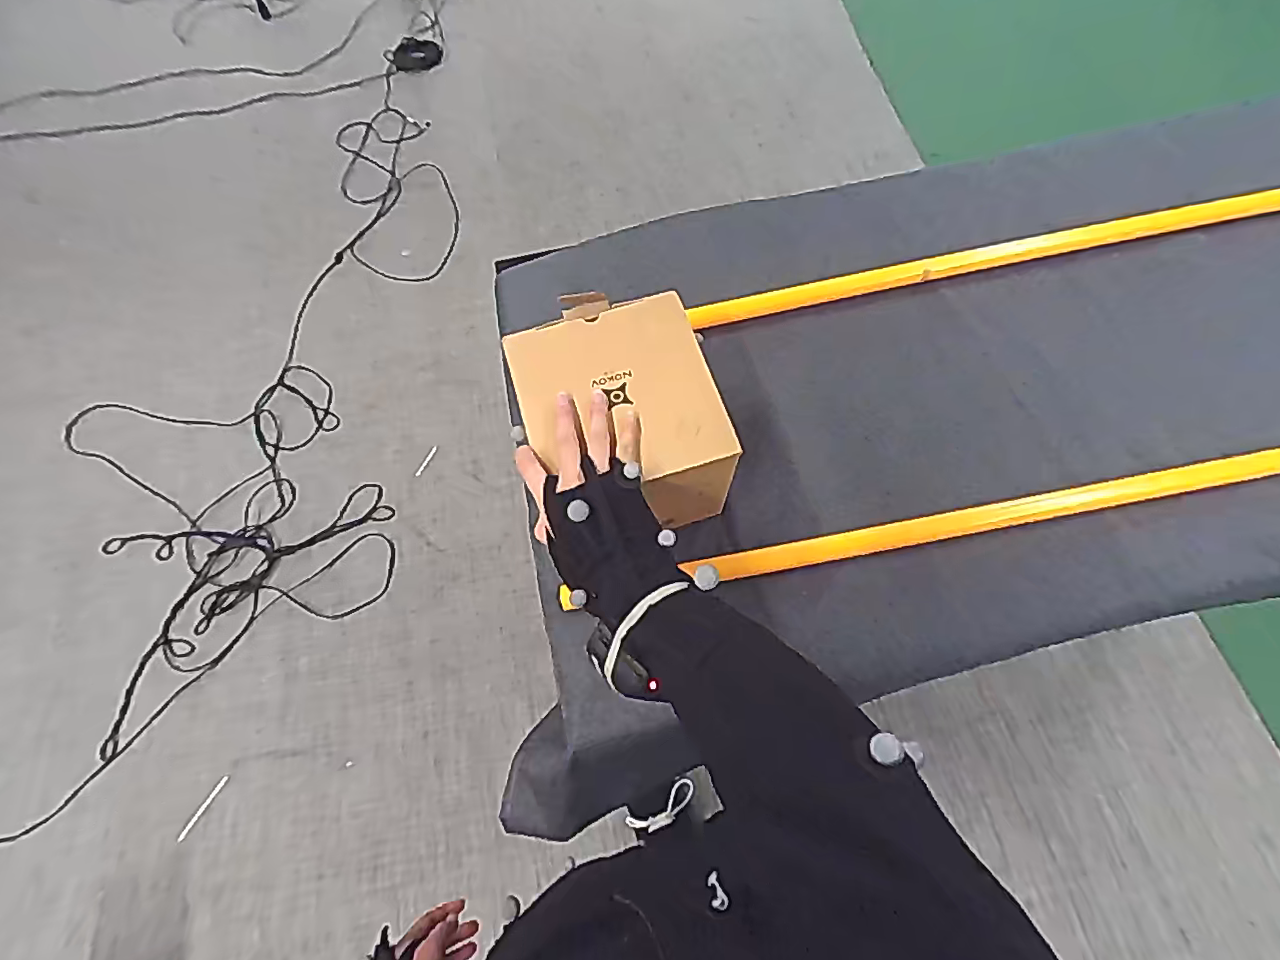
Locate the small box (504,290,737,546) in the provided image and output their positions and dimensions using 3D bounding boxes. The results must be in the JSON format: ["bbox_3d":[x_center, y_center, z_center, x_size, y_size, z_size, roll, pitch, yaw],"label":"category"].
[{"bbox_3d":[-0.016,-0.046,0.534,0.168,0.176,0.179,-18,68,-4],"label":"small box"}]
